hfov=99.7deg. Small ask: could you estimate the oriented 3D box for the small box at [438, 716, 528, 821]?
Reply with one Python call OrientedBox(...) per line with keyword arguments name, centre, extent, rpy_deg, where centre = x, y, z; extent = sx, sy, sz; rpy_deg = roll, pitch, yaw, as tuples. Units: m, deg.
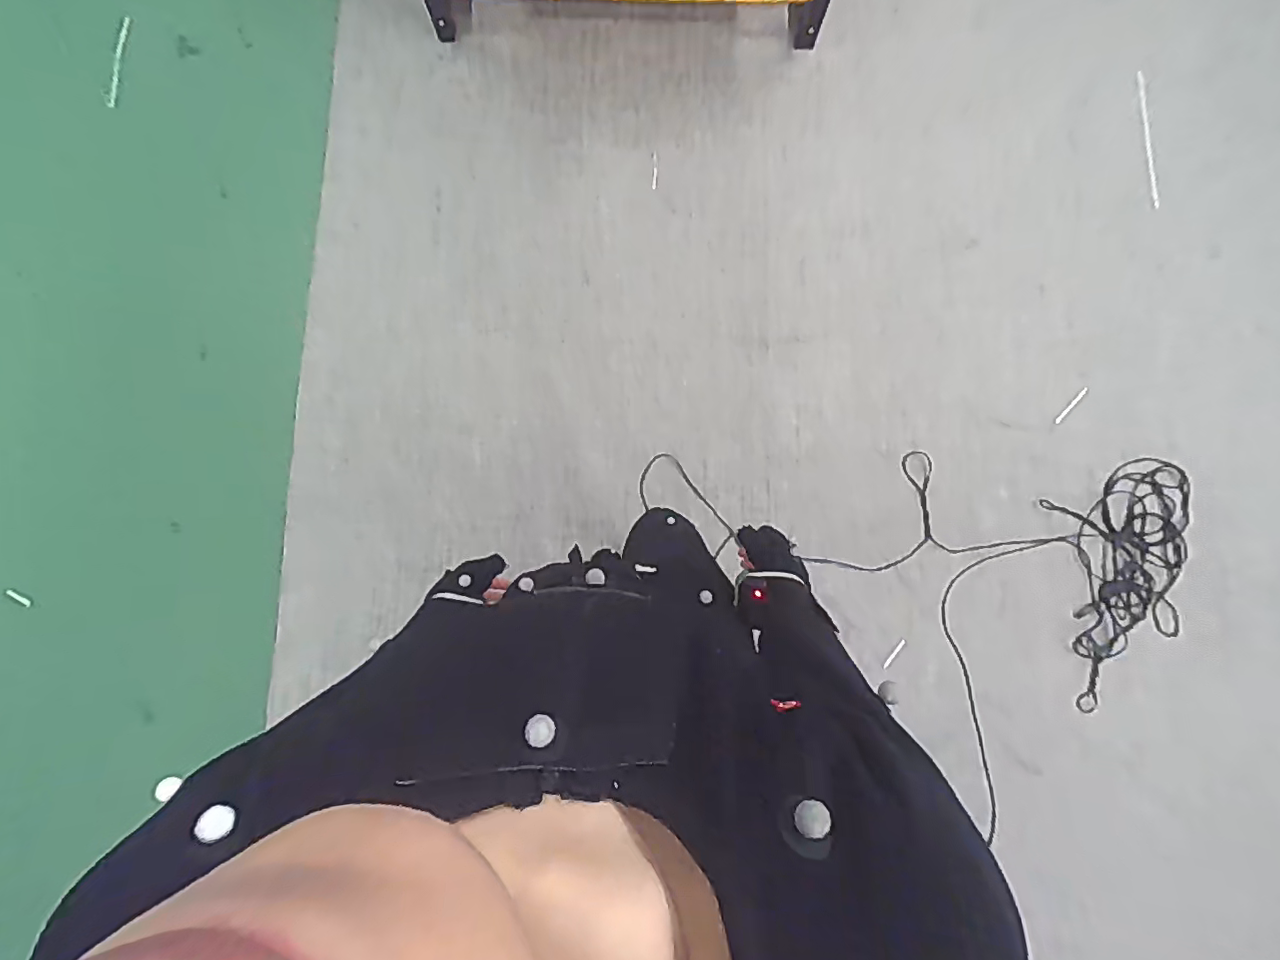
OrientedBox(name="small box", centre=(-0.377, 0.699, 1.324), extent=(0.168, 0.176, 0.179), rpy_deg=(4, 82, 0))
